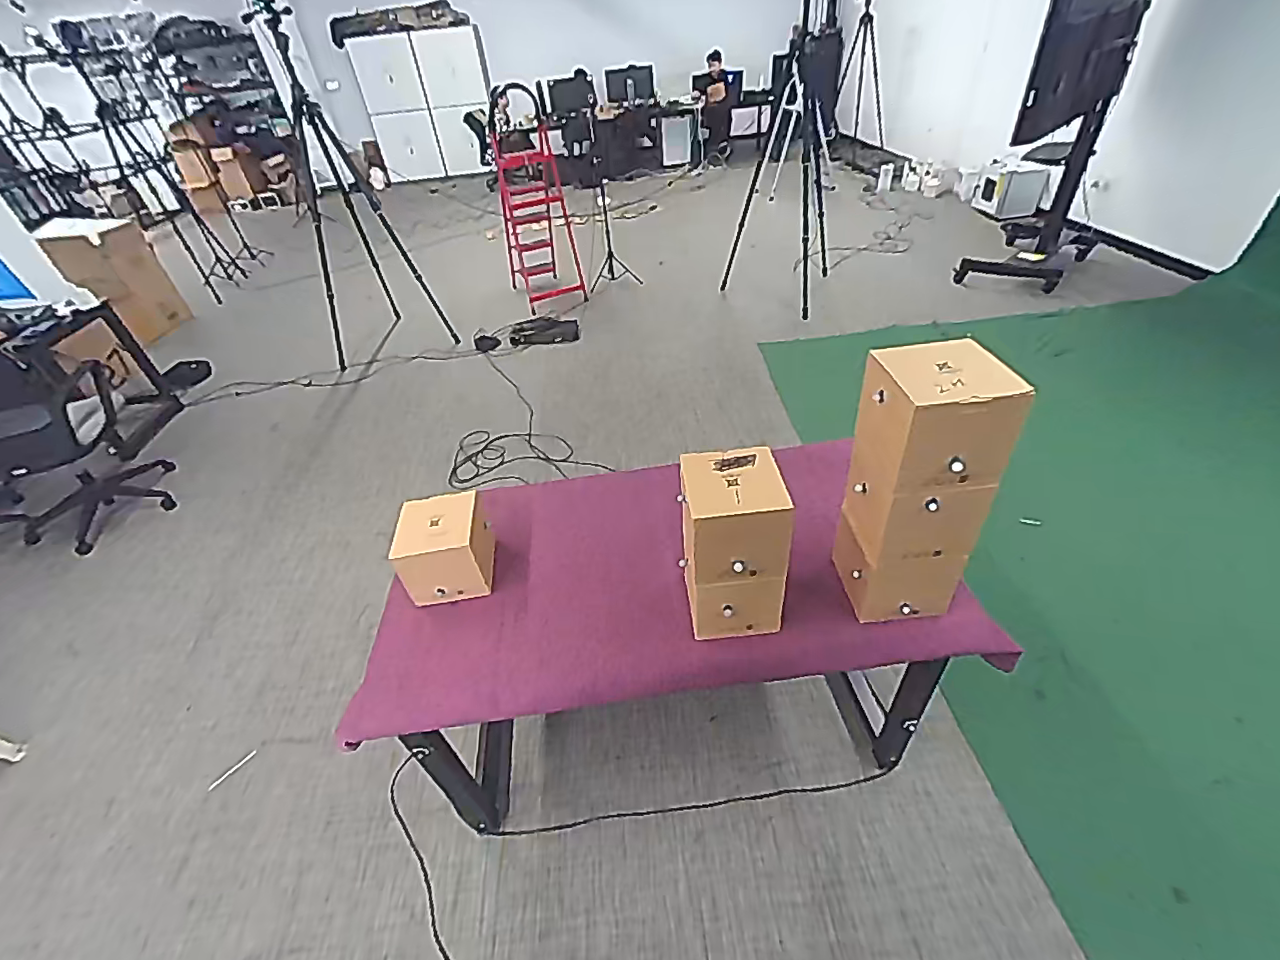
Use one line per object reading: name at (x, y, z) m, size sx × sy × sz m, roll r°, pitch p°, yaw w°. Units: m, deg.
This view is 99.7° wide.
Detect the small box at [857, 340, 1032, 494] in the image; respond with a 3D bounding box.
small box at (0.461, -0.100, 0.857) m, size 0.168 × 0.176 × 0.179 m, roll -7°, pitch 40°, yaw 2°

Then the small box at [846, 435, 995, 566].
small box at (0.479, 0.028, 0.959) m, size 0.168 × 0.176 × 0.179 m, roll -6°, pitch 39°, yaw 3°

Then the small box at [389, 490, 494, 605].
small box at (-0.429, 0.150, 1.204) m, size 0.168 × 0.176 × 0.179 m, roll -9°, pitch 41°, yaw -3°

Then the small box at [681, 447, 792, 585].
small box at (0.164, 0.063, 0.969) m, size 0.168 × 0.176 × 0.179 m, roll -6°, pitch 39°, yaw 2°

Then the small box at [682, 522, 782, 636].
small box at (0.178, 0.191, 1.070) m, size 0.168 × 0.176 × 0.179 m, roll -6°, pitch 38°, yaw 1°
